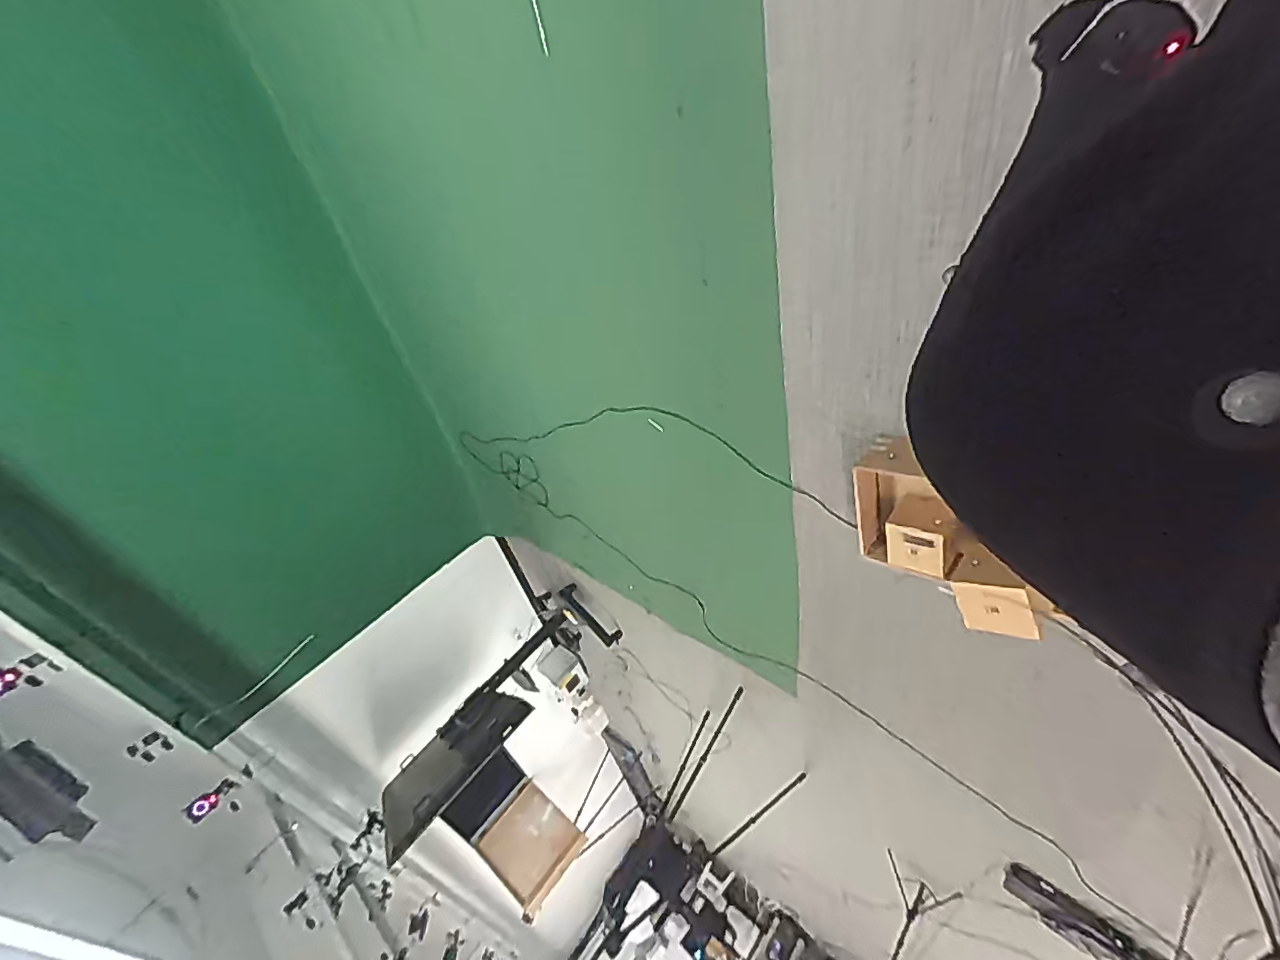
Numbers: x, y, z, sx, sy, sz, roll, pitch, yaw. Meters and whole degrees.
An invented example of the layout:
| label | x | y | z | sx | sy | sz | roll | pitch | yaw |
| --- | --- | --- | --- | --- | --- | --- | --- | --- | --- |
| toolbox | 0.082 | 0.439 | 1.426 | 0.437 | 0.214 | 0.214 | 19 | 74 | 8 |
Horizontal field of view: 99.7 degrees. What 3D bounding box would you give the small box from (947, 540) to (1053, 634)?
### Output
| label | x | y | z | sx | sy | sz | roll | pitch | yaw |
| --- | --- | --- | --- | --- | --- | --- | --- | --- | --- |
| small box | 0.961 | 0.276 | 1.442 | 0.179 | 0.176 | 0.168 | -2 | 122 | 53 |
